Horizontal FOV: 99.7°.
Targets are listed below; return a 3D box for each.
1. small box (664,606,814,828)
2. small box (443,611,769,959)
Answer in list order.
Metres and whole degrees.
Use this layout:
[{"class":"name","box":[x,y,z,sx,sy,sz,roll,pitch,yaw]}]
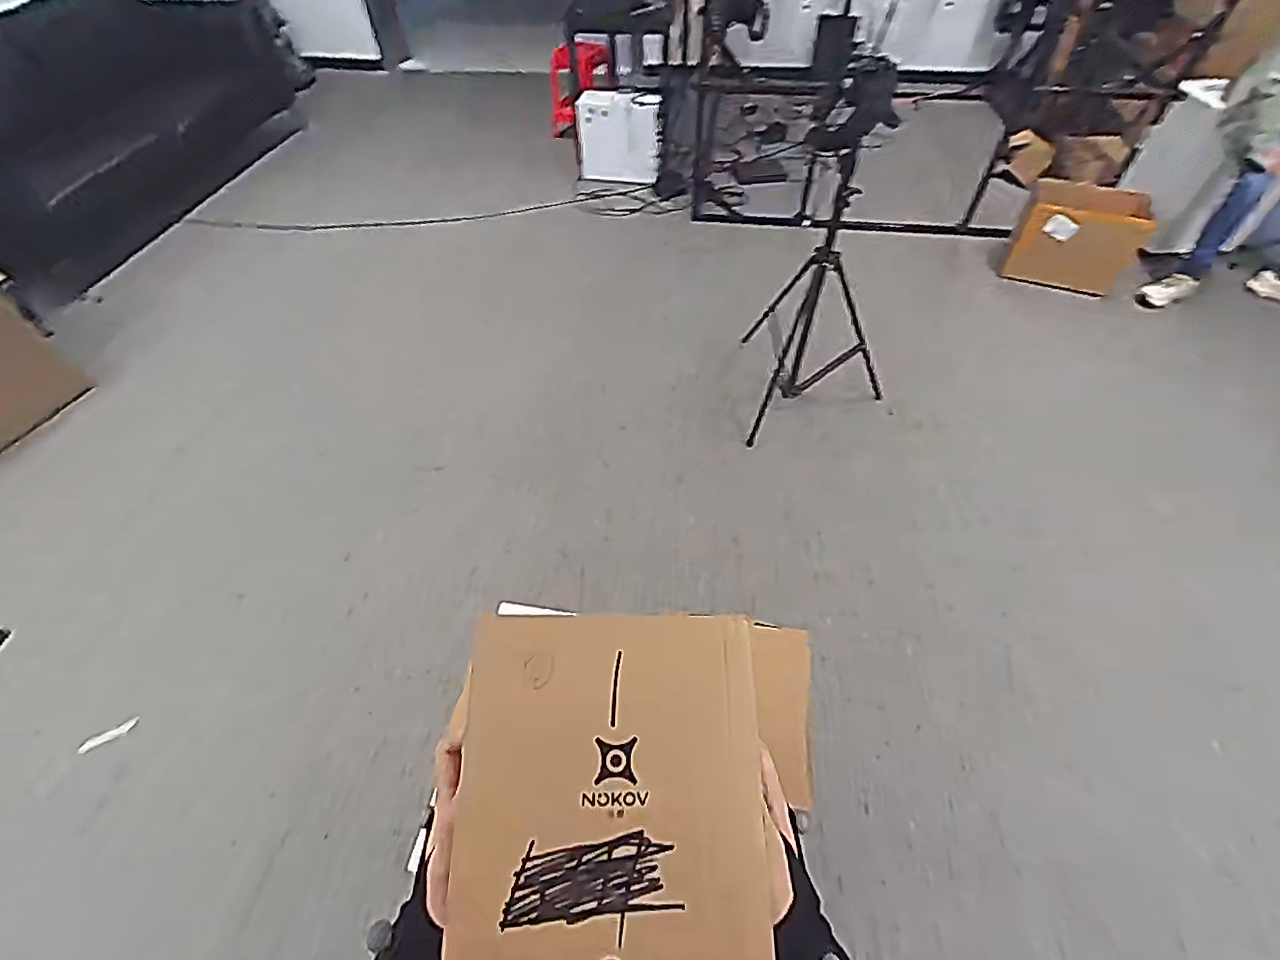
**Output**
[{"class":"small box","box":[0.094,0.267,0.608,0.168,0.176,0.179,6,52,8]},{"class":"small box","box":[-0.021,0.188,0.370,0.168,0.176,0.179,1,70,-5]}]
